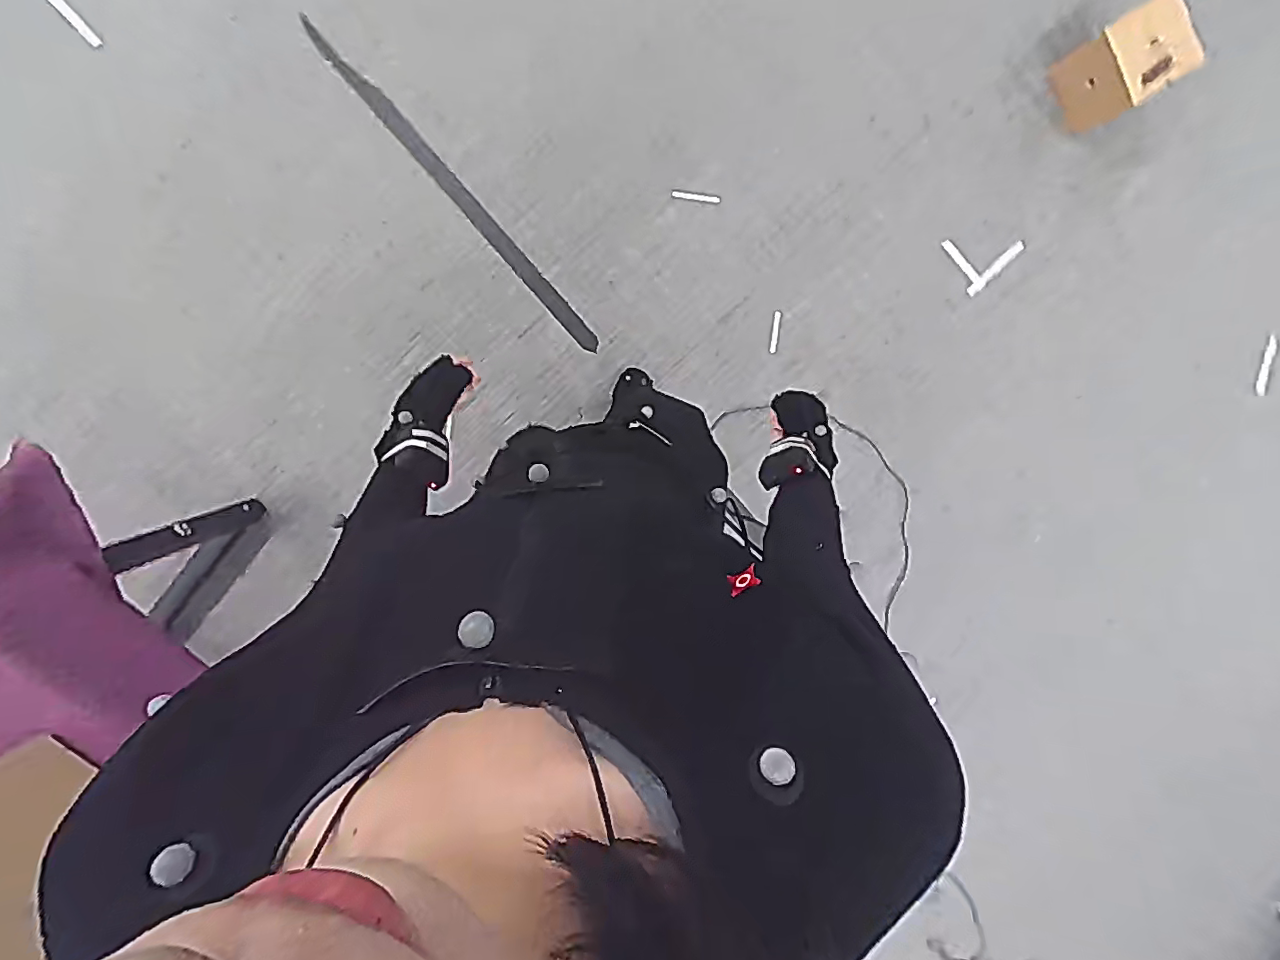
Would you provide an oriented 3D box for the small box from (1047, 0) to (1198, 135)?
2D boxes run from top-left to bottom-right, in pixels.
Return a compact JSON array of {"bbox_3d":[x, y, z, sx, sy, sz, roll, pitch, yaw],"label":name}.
[{"bbox_3d":[1.100,-0.939,1.246,0.168,0.176,0.179,-31,98,6],"label":"small box"}]
